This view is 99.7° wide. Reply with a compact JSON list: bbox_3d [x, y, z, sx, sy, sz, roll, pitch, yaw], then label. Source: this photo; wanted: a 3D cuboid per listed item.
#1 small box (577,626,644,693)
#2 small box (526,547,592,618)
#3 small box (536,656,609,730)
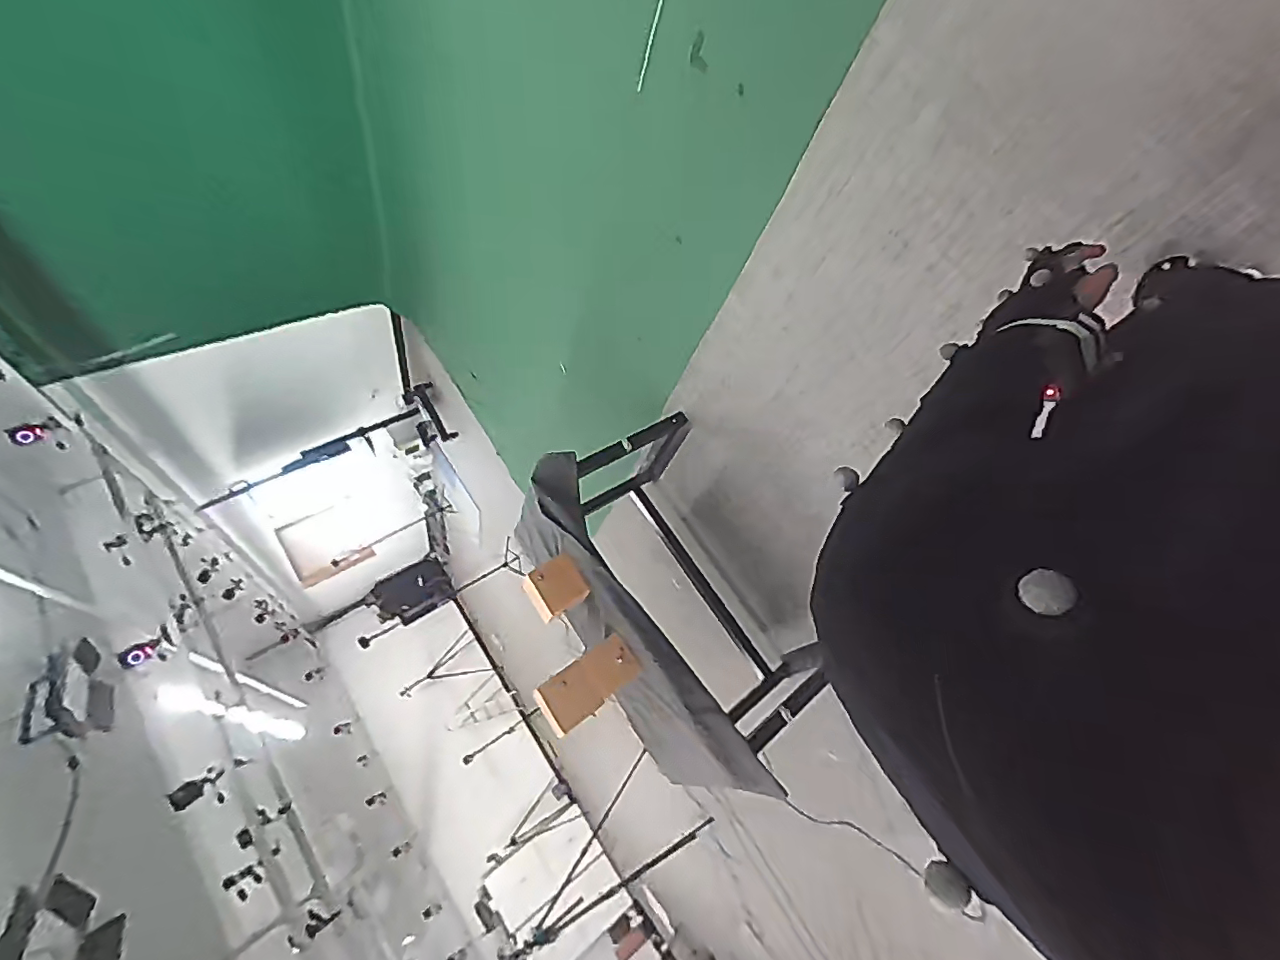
[{"bbox_3d":[-0.110,0.647,1.920,0.168,0.176,0.179,53,150,14],"label":"small box"},{"bbox_3d":[-0.299,0.376,1.991,0.179,0.176,0.168,55,152,13],"label":"small box"},{"bbox_3d":[-0.232,0.720,1.841,0.179,0.176,0.168,52,152,14],"label":"small box"}]
